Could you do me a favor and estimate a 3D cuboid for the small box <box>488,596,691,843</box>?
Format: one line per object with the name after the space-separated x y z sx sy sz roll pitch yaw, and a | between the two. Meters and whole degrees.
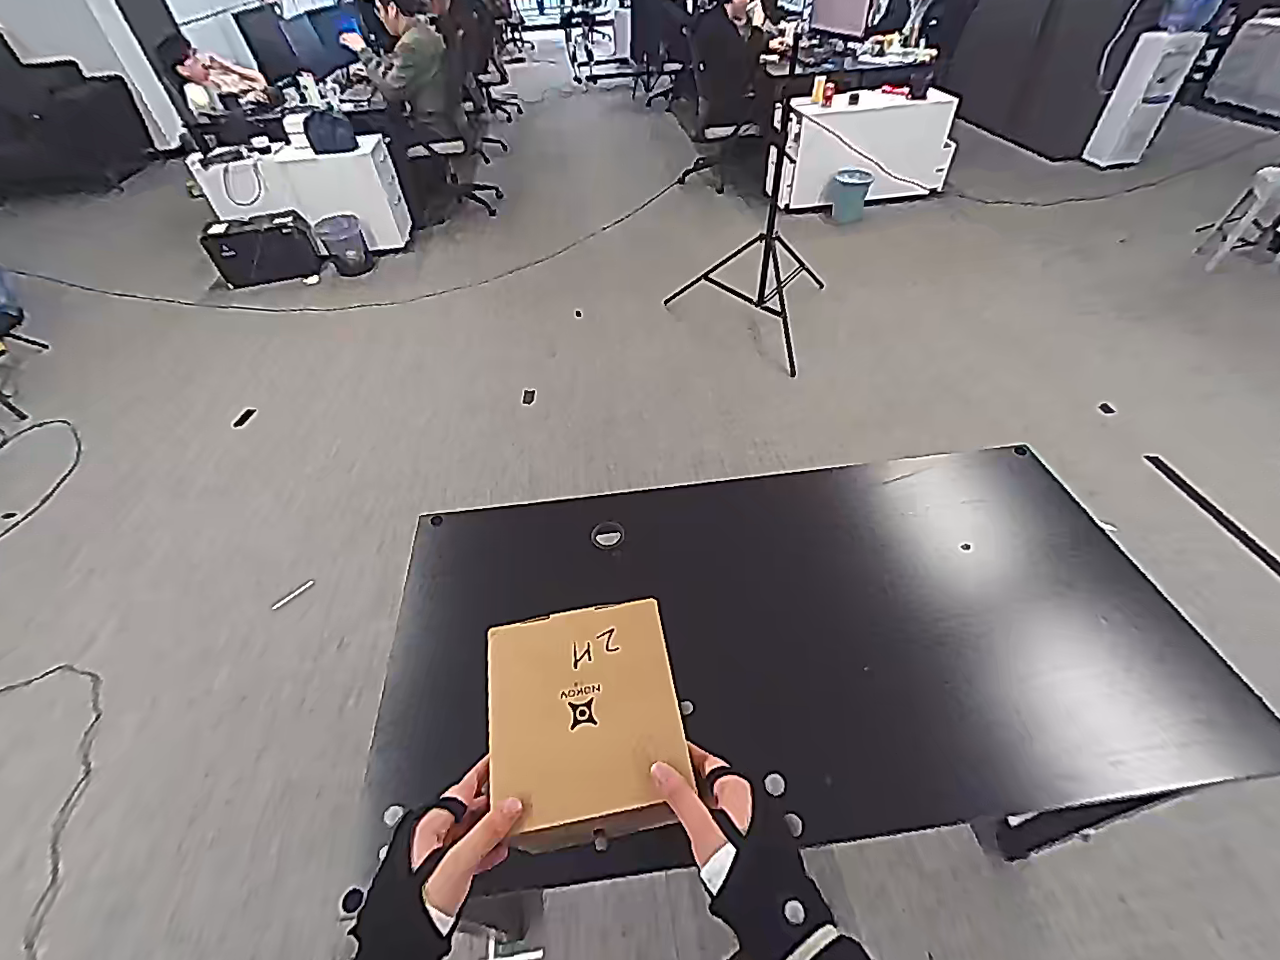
-0.046 0.244 0.538 0.168 0.176 0.179 -10 52 -4 | small box
